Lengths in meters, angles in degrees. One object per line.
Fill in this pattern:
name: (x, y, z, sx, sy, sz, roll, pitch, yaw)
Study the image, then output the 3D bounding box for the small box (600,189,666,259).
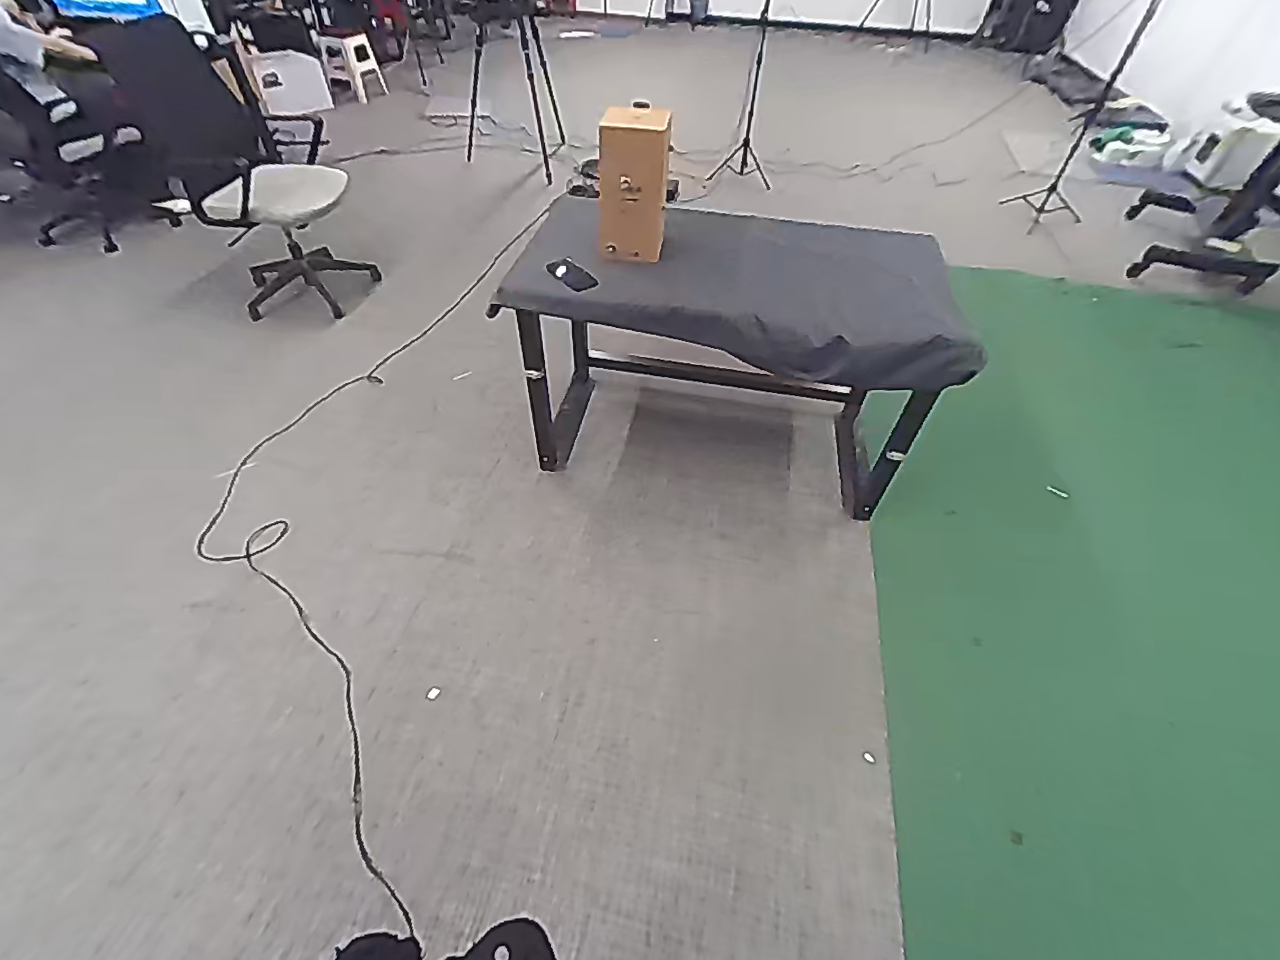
small box: (-0.016, -0.748, 1.533, 0.168, 0.176, 0.179, 7, 48, 3)

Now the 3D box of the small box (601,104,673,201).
small box: (-0.007, -0.855, 1.412, 0.168, 0.176, 0.179, 6, 50, 3)
